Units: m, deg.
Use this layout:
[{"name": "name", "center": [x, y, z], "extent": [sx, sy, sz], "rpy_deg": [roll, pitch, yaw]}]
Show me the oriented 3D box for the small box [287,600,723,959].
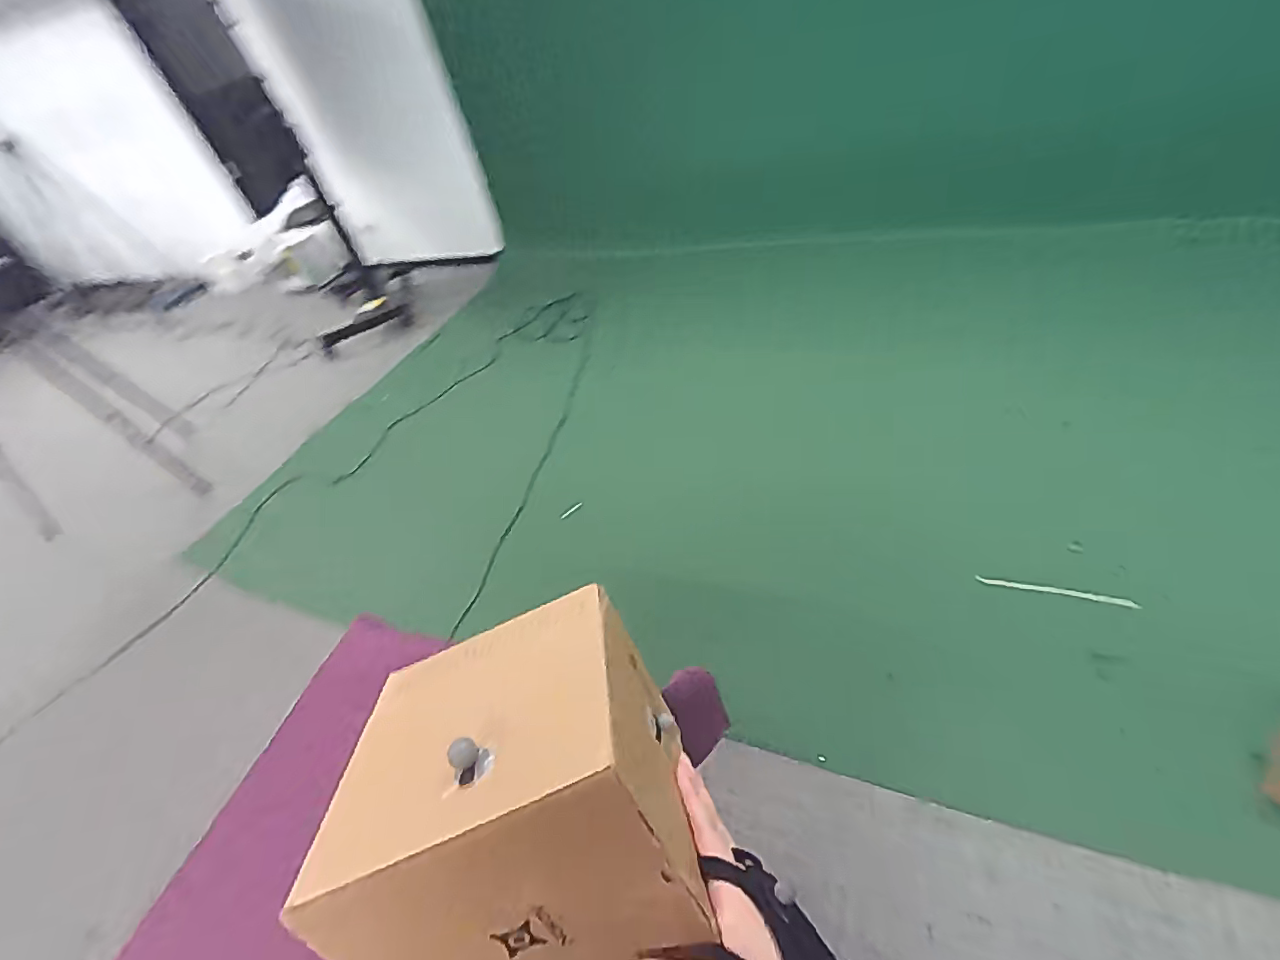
[{"name": "small box", "center": [-0.068, 0.212, 0.355], "extent": [0.179, 0.168, 0.176], "rpy_deg": [-24, 20, 2]}]
